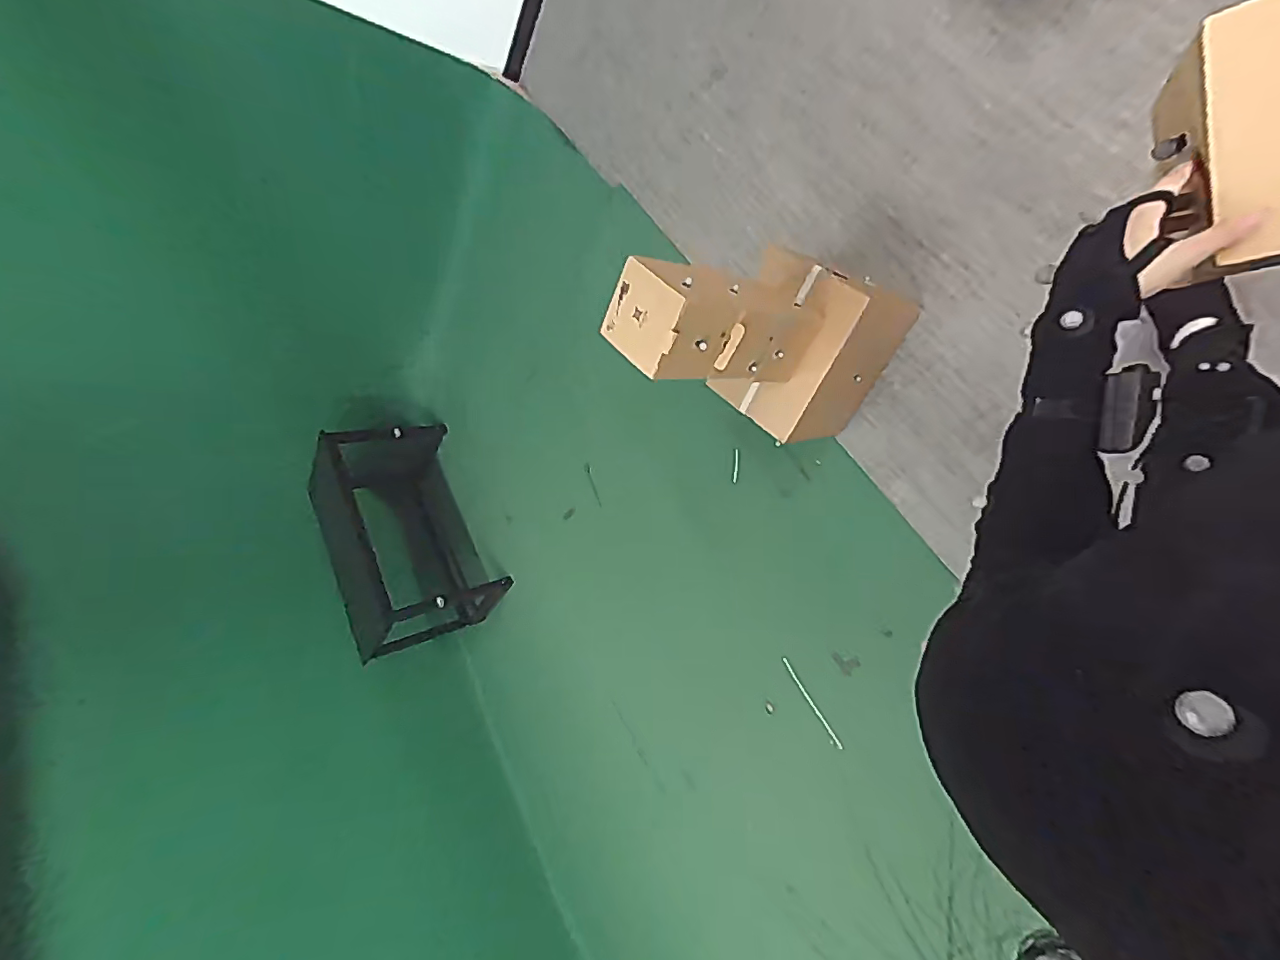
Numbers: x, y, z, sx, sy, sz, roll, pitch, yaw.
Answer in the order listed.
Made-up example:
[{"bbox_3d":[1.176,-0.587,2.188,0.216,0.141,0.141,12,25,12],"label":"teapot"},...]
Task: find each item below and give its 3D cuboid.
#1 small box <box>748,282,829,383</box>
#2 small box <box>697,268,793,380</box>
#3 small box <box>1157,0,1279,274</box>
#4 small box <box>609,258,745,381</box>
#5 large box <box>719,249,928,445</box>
[{"bbox_3d":[0.315,-0.348,1.290,0.168,0.176,0.179,48,128,29],"label":"small box"},{"bbox_3d":[0.197,-0.337,1.176,0.179,0.176,0.168,50,130,28],"label":"small box"},{"bbox_3d":[0.505,-0.261,0.387,0.179,0.176,0.168,-7,96,35],"label":"small box"},{"bbox_3d":[0.074,-0.315,1.069,0.179,0.176,0.168,47,128,28],"label":"small box"},{"bbox_3d":[0.486,-0.357,1.467,0.320,0.320,0.408,46,129,33],"label":"large box"}]
